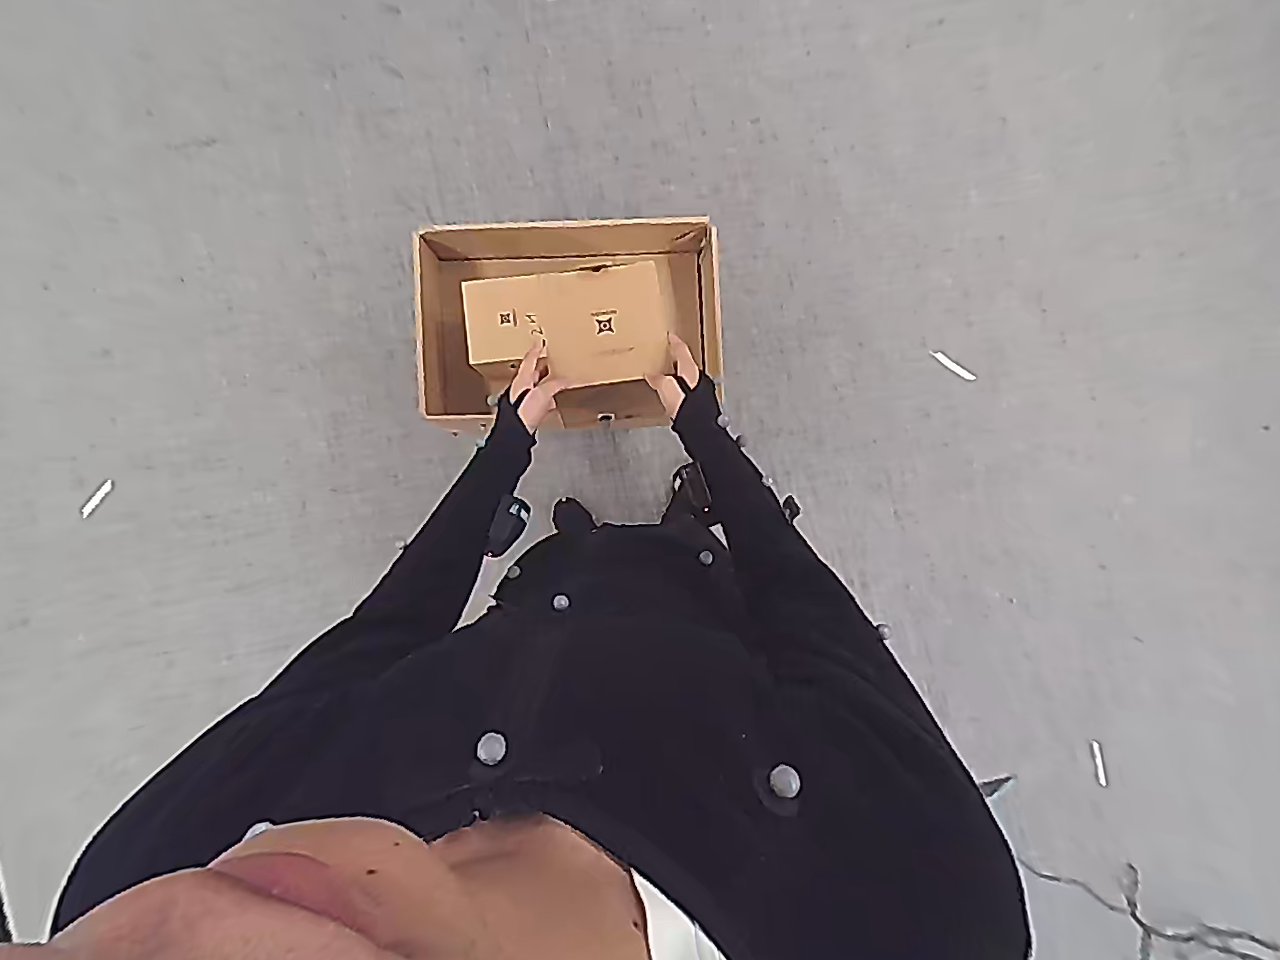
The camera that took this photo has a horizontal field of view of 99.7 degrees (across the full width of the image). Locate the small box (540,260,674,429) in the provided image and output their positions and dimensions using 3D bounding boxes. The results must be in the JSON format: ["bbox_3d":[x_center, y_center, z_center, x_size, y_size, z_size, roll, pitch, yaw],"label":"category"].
[{"bbox_3d":[-0.049,-0.192,0.799,0.168,0.176,0.179,-8,77,-3],"label":"small box"}]

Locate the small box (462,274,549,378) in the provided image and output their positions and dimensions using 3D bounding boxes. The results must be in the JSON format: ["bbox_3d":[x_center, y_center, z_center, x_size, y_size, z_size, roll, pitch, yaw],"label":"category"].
[{"bbox_3d":[-0.259,-0.316,1.140,0.179,0.176,0.168,-6,90,-3],"label":"small box"}]
